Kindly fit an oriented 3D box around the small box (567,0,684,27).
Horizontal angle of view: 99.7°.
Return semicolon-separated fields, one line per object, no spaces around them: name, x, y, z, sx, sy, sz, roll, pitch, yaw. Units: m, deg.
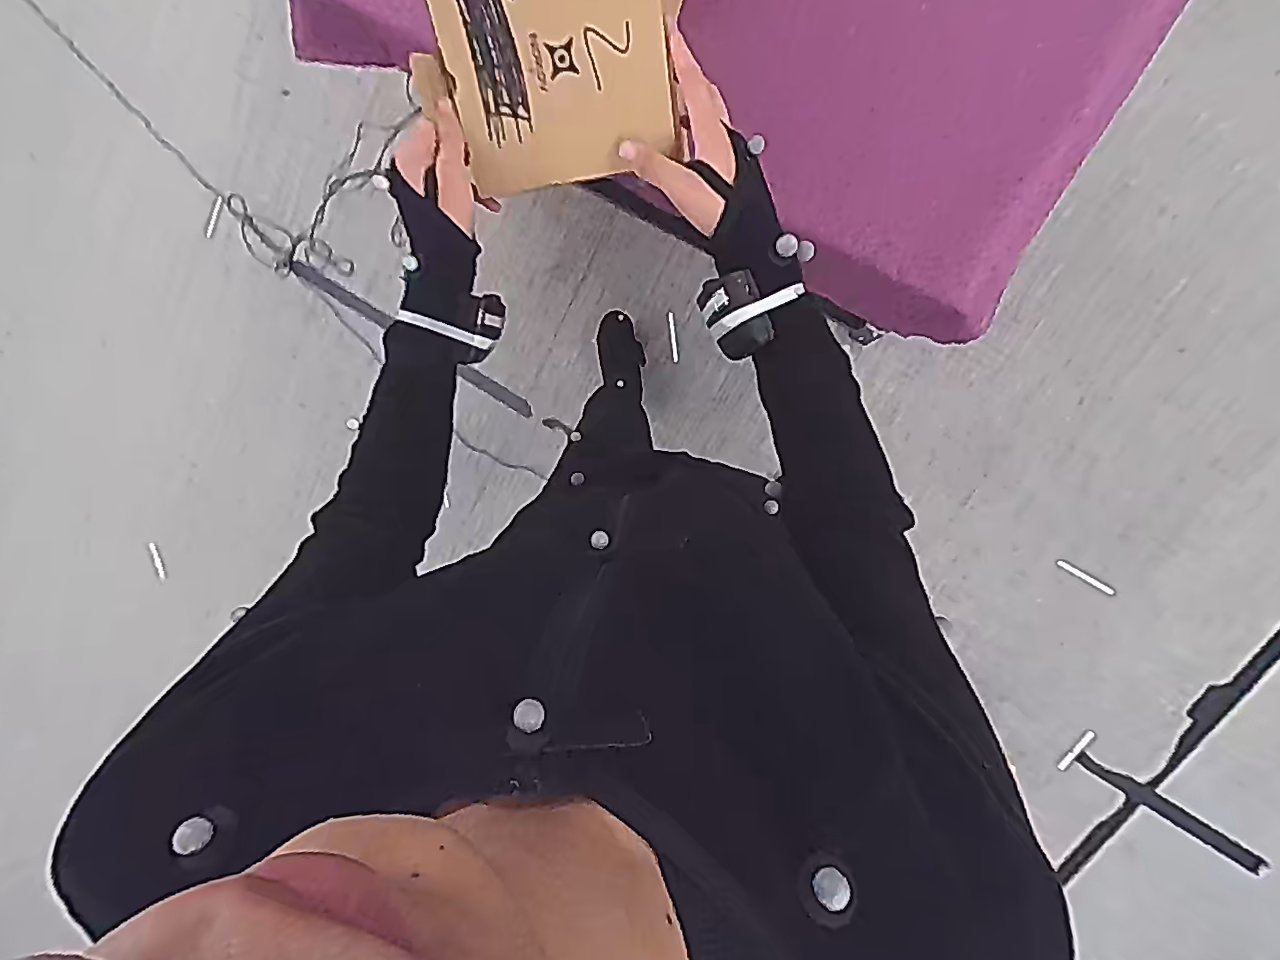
small box;-0.023;-0.727;0.686;0.179;0.176;0.168;20;103;9
